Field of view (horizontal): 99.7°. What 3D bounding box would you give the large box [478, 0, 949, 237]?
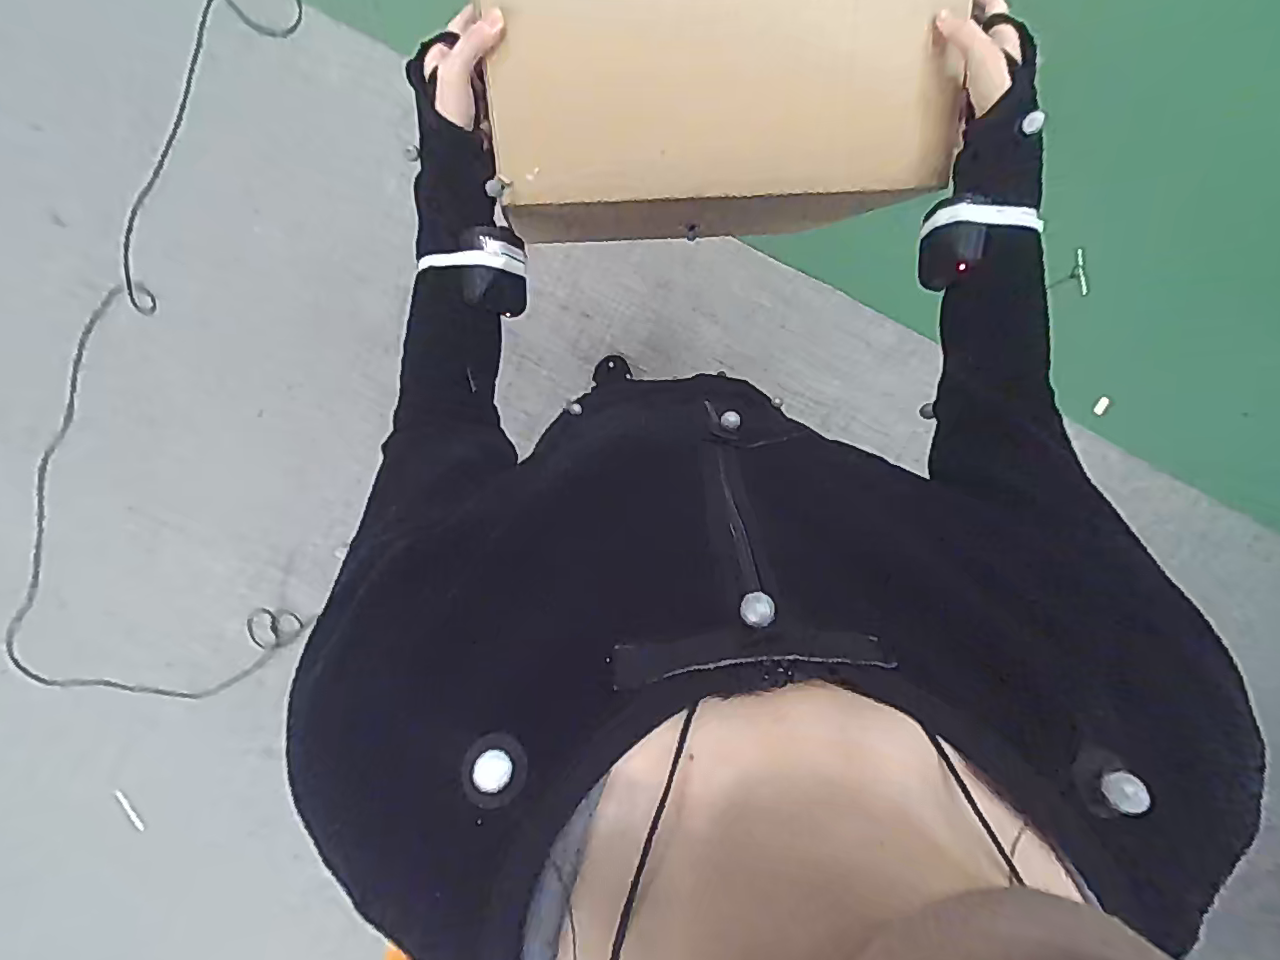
[{"bbox_3d":[0.051,-0.445,0.578,0.408,0.320,0.320,-5,108,-7],"label":"large box"}]
